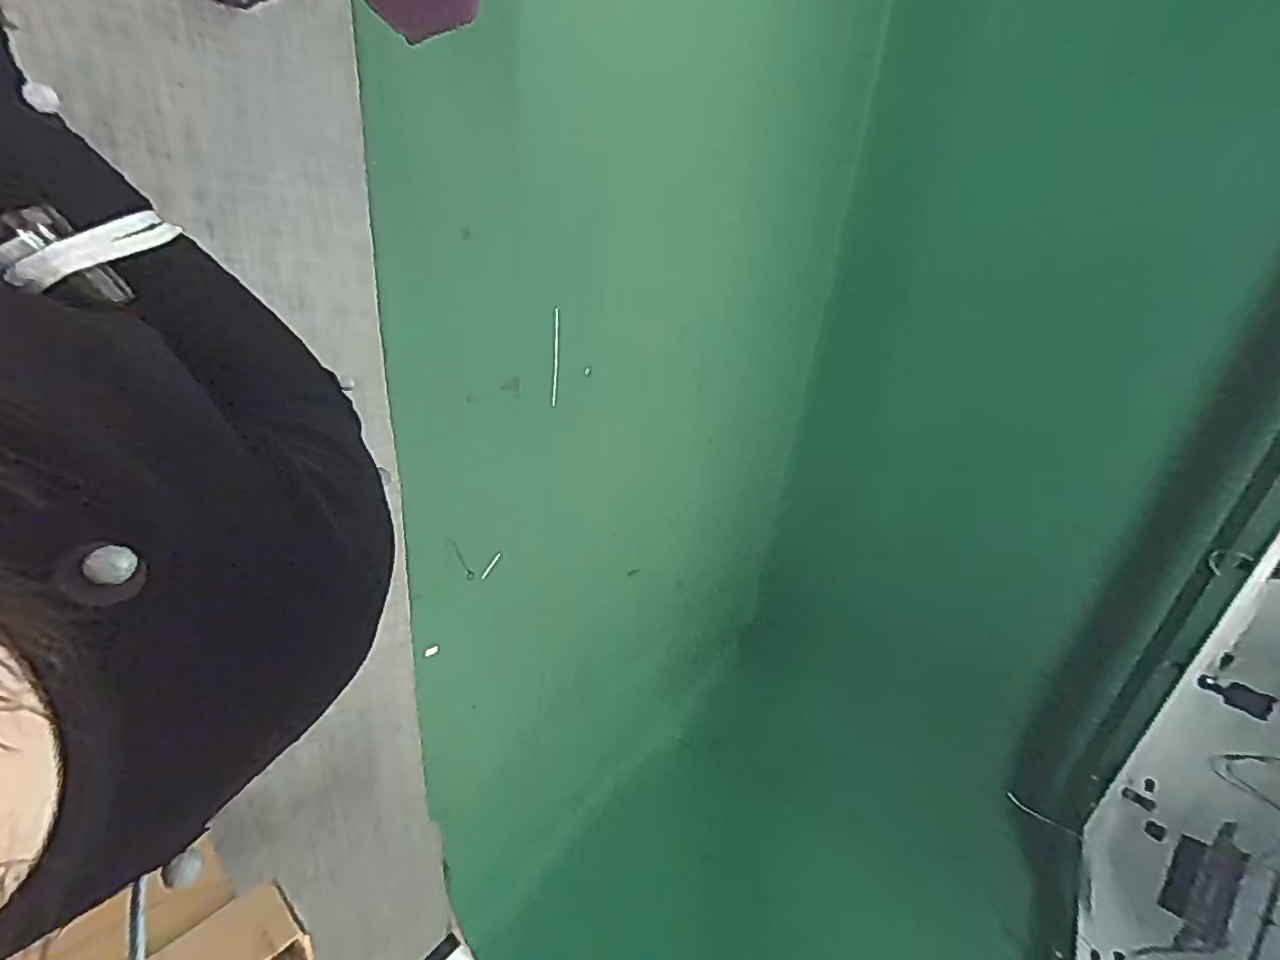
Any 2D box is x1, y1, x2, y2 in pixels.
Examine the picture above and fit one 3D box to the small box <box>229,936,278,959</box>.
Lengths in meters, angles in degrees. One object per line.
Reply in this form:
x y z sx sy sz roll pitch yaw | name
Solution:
-0.877 1.166 1.179 0.179 0.176 0.168 -18 122 -48 | small box
